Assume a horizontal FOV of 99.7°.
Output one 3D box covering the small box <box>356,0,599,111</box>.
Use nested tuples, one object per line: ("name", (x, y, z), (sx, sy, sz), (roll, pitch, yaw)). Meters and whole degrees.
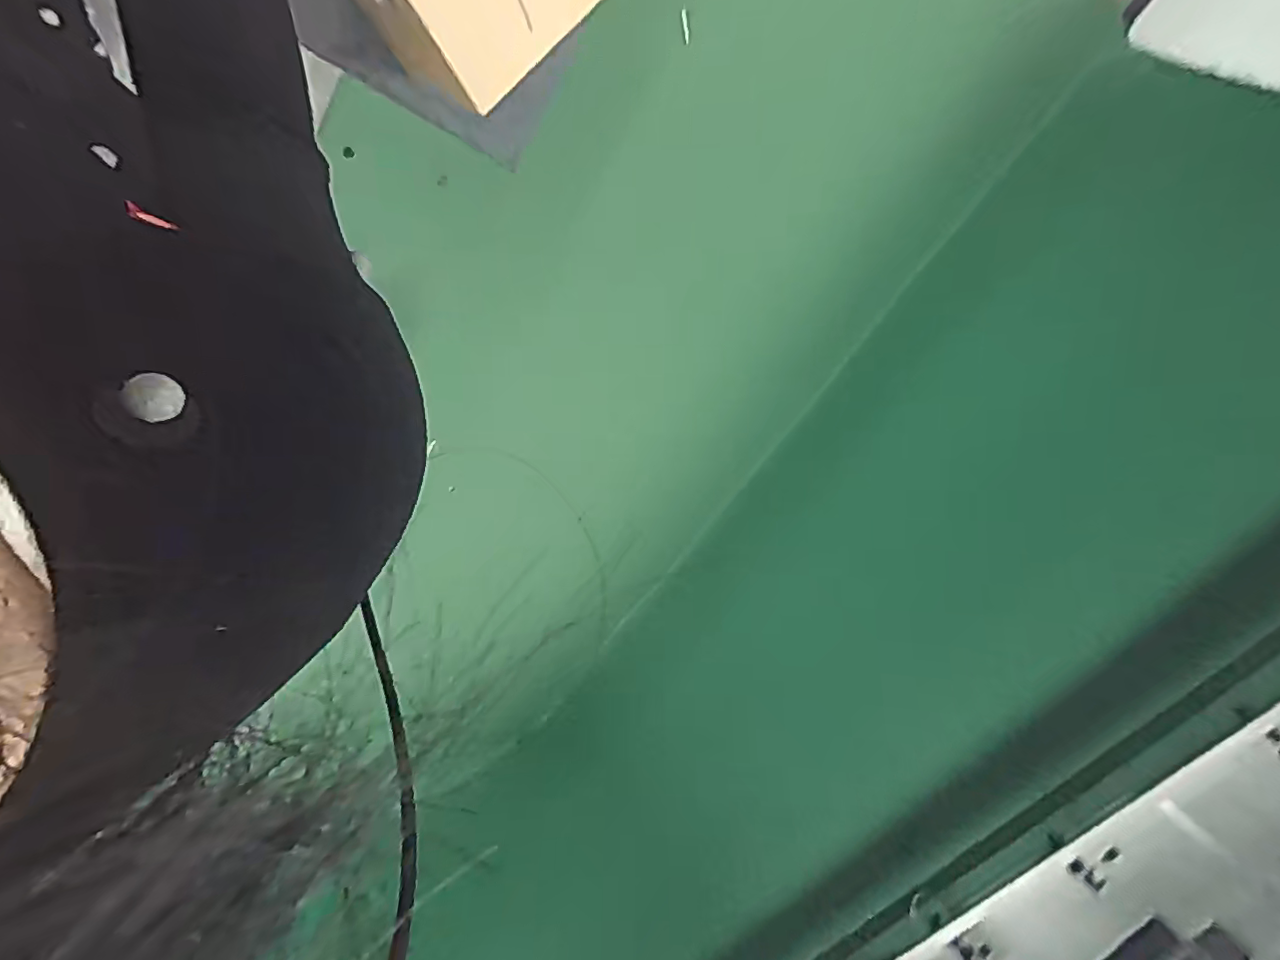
("small box", (-0.168, -0.467, 0.457), (0.168, 0.176, 0.179), (-44, 150, -1))
